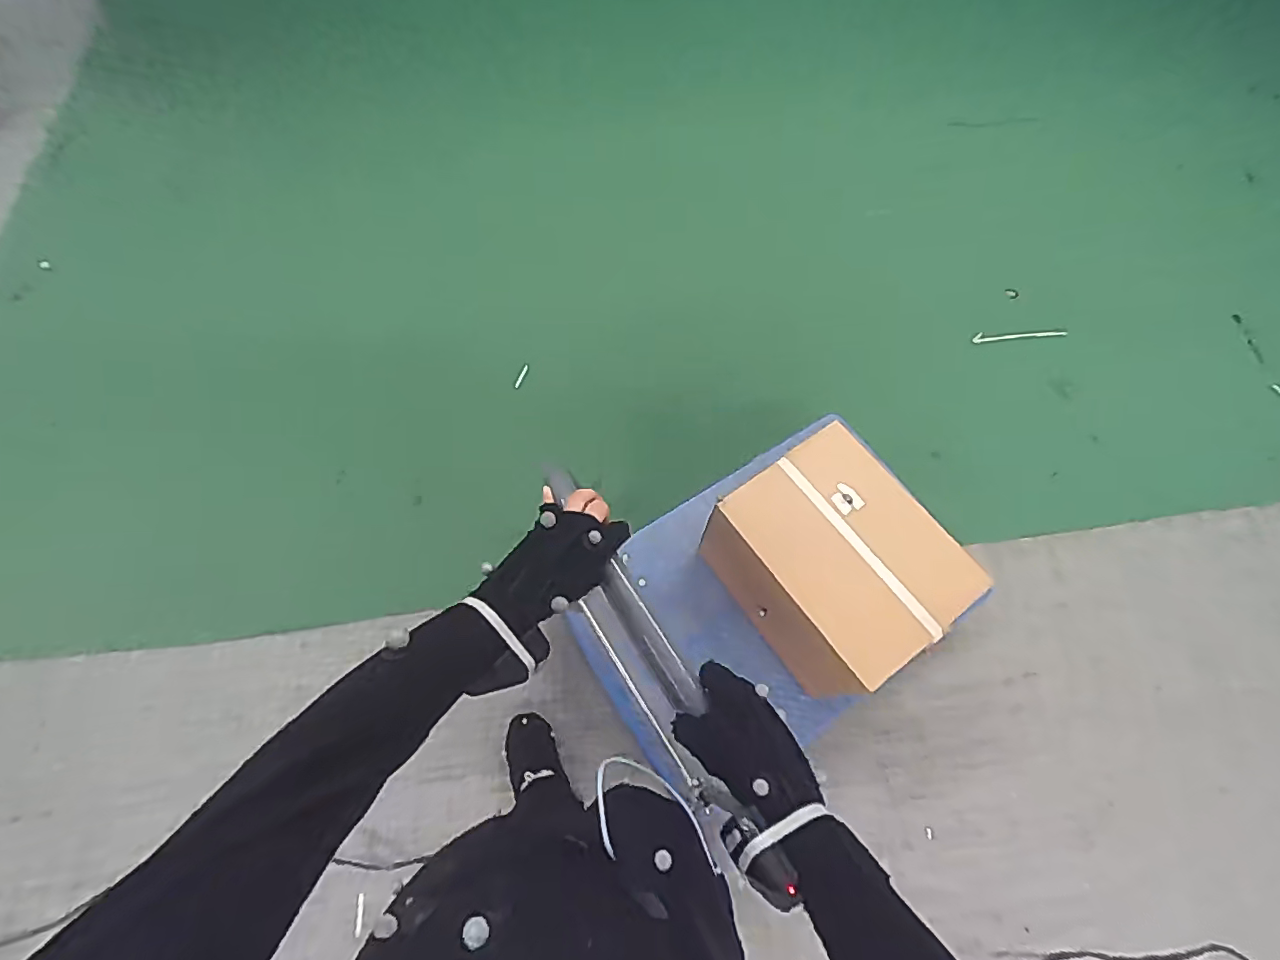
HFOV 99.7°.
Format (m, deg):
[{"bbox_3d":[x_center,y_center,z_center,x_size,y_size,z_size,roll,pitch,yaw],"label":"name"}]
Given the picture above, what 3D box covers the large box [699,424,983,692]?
[{"bbox_3d":[0.373,0.172,1.119,0.320,0.320,0.408,-33,70,-15],"label":"large box"}]
